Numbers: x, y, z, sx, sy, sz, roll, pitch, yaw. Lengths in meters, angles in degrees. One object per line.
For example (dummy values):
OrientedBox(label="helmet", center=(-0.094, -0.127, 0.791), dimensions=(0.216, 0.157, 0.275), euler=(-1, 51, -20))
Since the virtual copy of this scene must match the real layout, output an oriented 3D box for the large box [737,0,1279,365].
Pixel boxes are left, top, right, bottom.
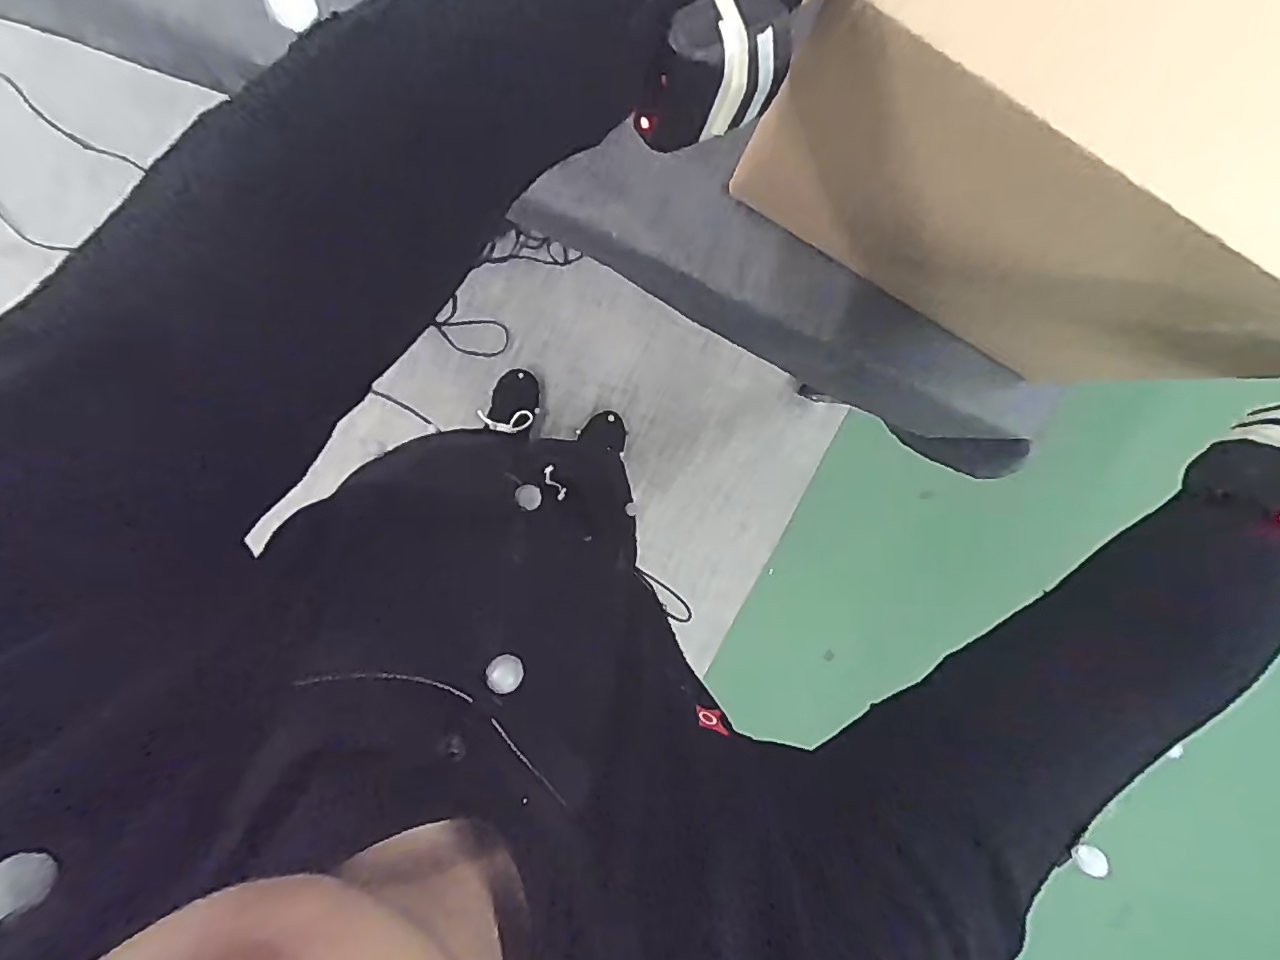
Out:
OrientedBox(label="large box", center=(0.345, -0.319, 0.414), dimensions=(0.408, 0.320, 0.320), euler=(28, 99, -8))
